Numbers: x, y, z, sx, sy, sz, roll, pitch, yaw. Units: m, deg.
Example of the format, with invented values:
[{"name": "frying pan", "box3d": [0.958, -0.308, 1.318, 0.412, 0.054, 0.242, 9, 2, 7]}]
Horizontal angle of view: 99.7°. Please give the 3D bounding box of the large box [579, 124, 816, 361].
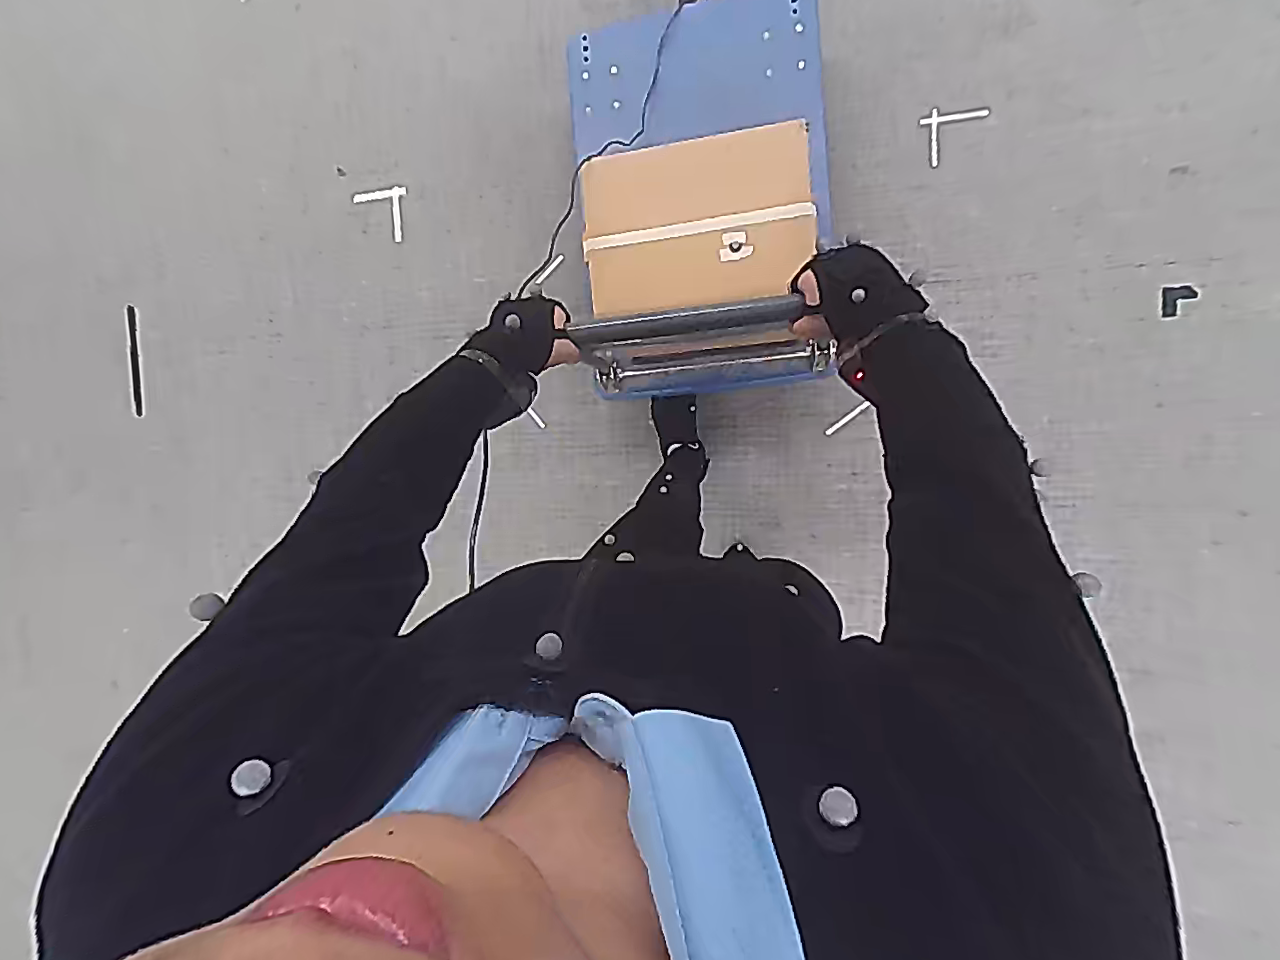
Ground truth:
[{"name": "large box", "box3d": [0.119, -0.446, 1.108, 0.408, 0.320, 0.320, -5, 92, 10]}]
